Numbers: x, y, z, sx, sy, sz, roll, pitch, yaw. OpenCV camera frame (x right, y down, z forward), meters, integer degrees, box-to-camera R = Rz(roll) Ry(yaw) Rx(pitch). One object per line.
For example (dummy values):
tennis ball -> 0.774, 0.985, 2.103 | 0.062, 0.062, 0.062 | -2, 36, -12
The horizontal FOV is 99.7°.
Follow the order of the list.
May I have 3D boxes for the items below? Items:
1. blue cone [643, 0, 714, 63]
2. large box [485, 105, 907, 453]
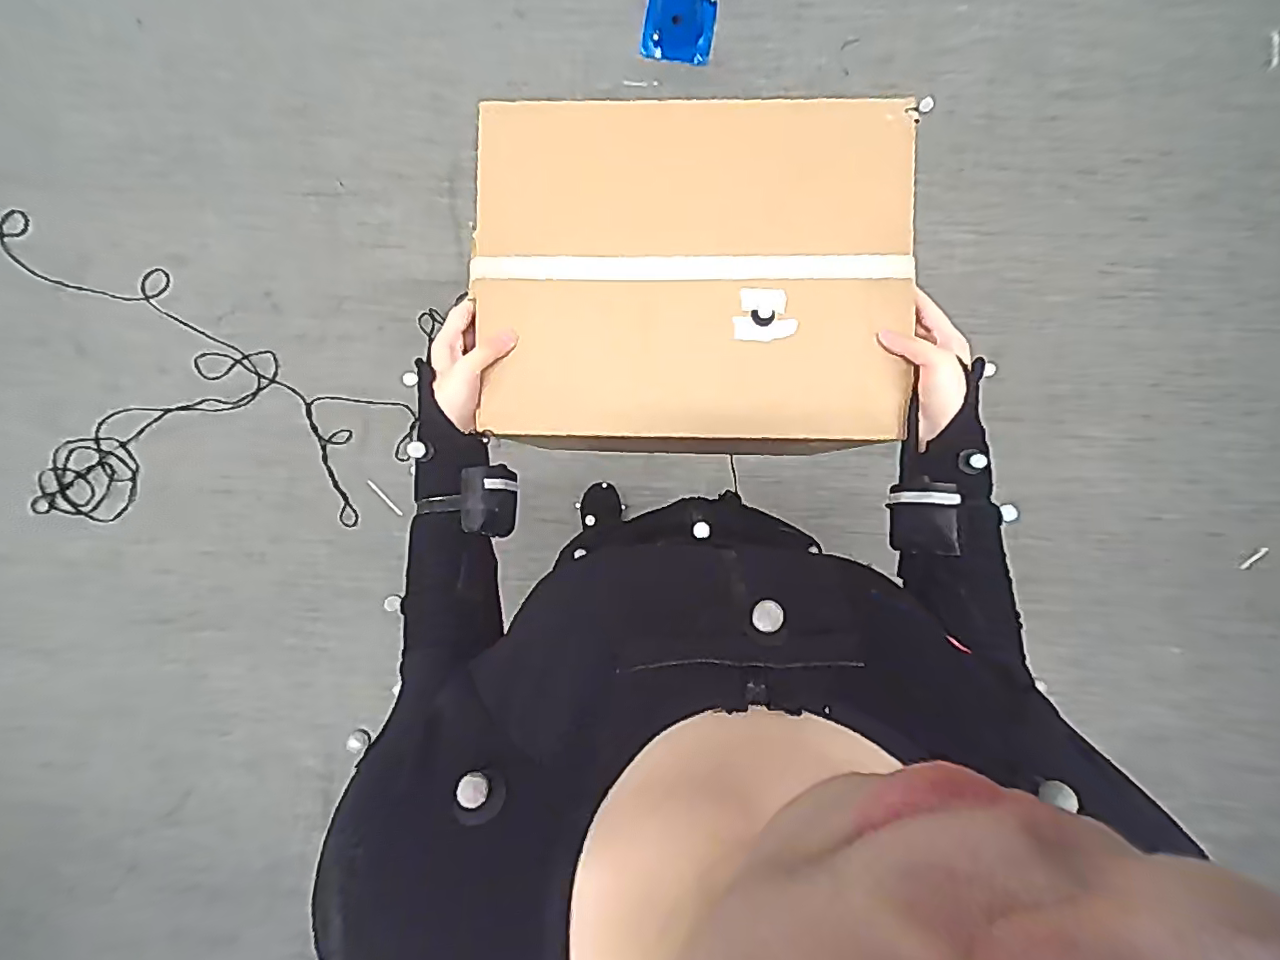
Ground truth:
blue cone -> 0.106, -1.306, 1.394 | 0.193, 0.380, 0.192 | 11, 88, 2
large box -> 0.052, -0.198, 0.658 | 0.408, 0.320, 0.320 | 1, 90, 1
